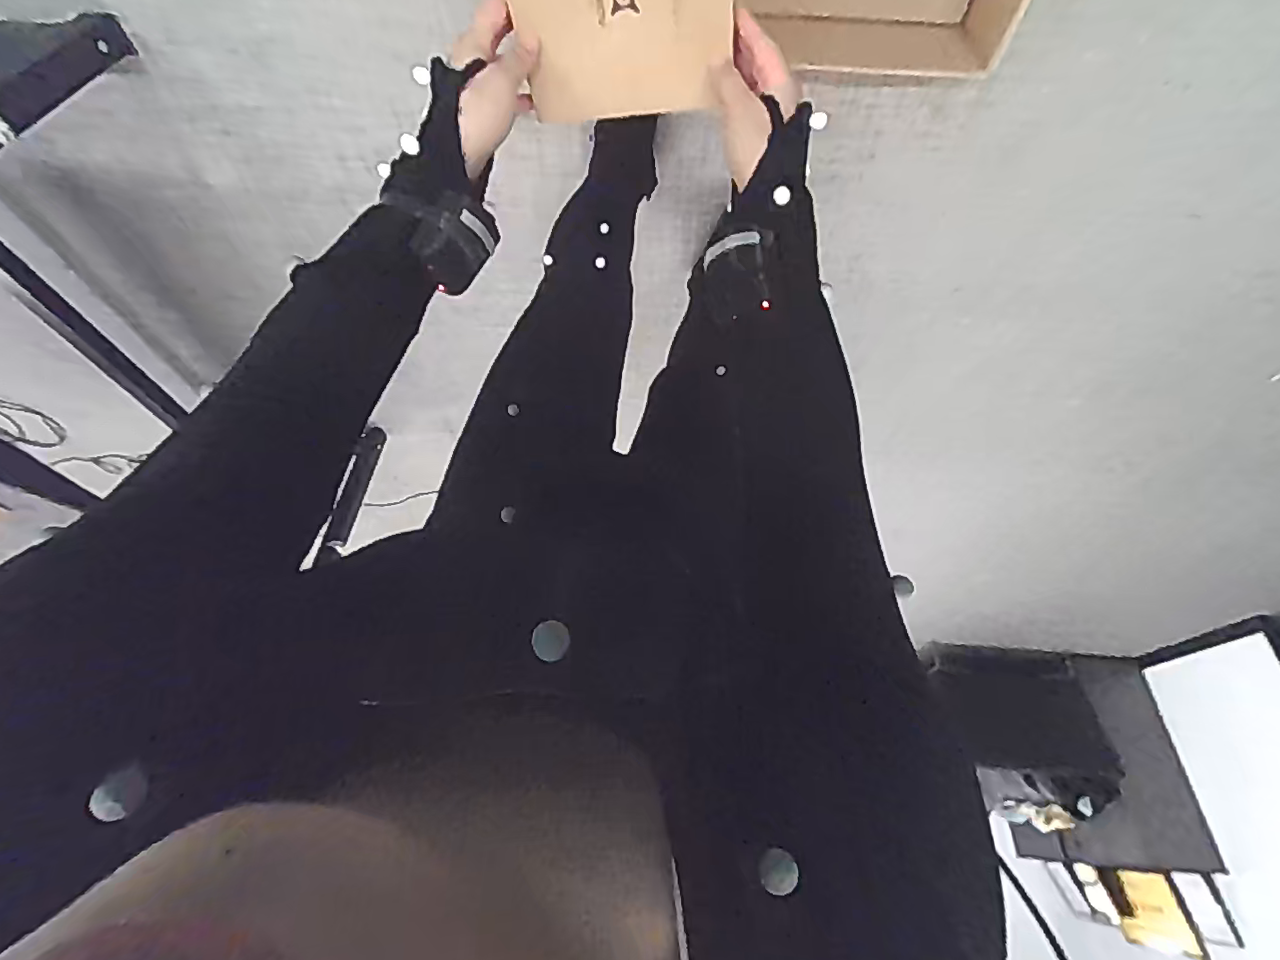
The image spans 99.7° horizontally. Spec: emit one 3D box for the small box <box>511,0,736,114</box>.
[{"bbox_3d":[-0.010,-0.439,0.448,0.179,0.176,0.168,-1,149,7],"label":"small box"}]
